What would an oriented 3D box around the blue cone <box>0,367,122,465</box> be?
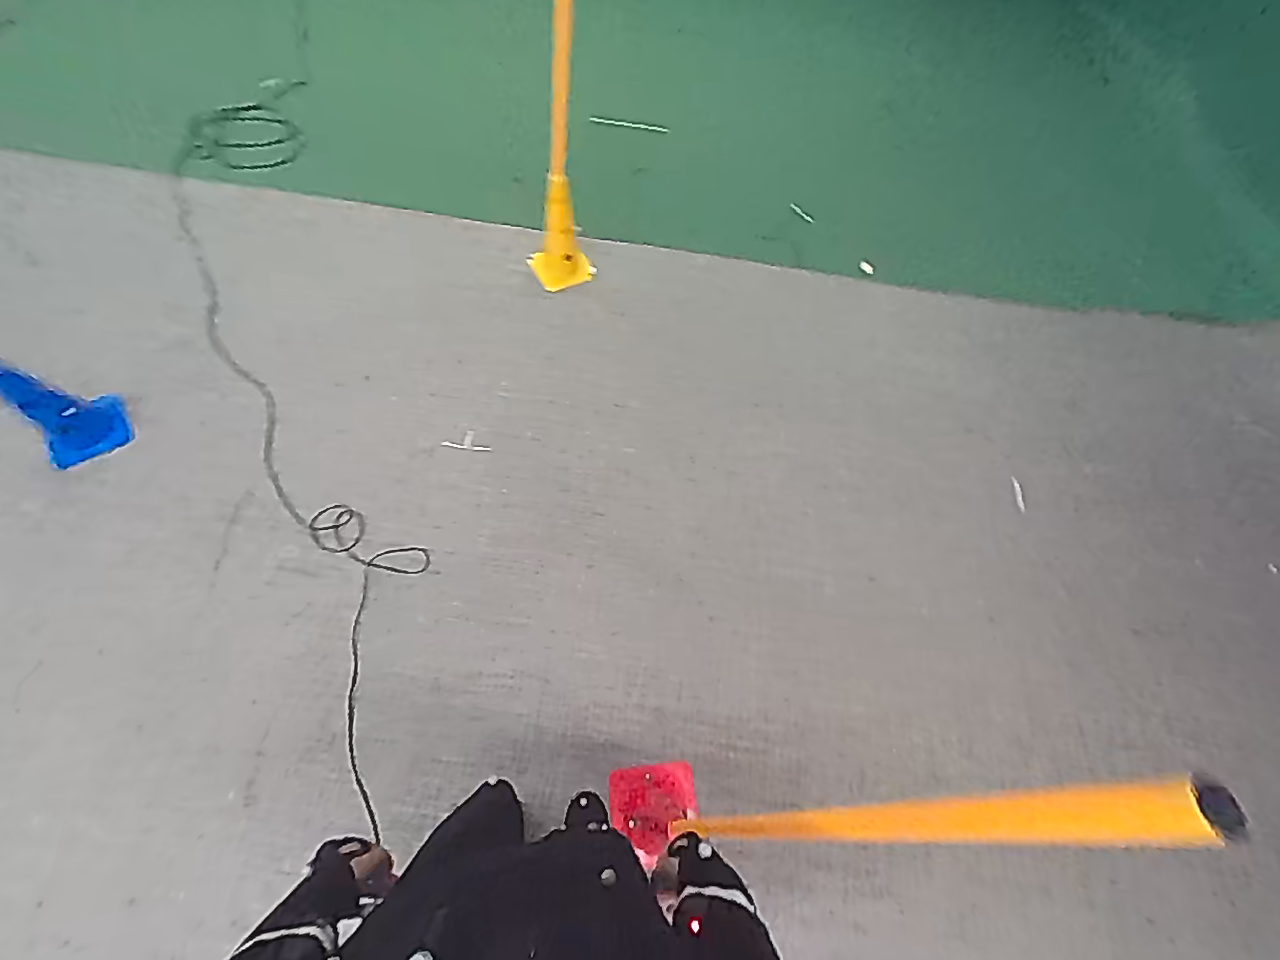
[{"bbox_3d":[-1.578,-0.214,1.384,0.193,0.380,0.192,-33,71,-18],"label":"blue cone"}]
